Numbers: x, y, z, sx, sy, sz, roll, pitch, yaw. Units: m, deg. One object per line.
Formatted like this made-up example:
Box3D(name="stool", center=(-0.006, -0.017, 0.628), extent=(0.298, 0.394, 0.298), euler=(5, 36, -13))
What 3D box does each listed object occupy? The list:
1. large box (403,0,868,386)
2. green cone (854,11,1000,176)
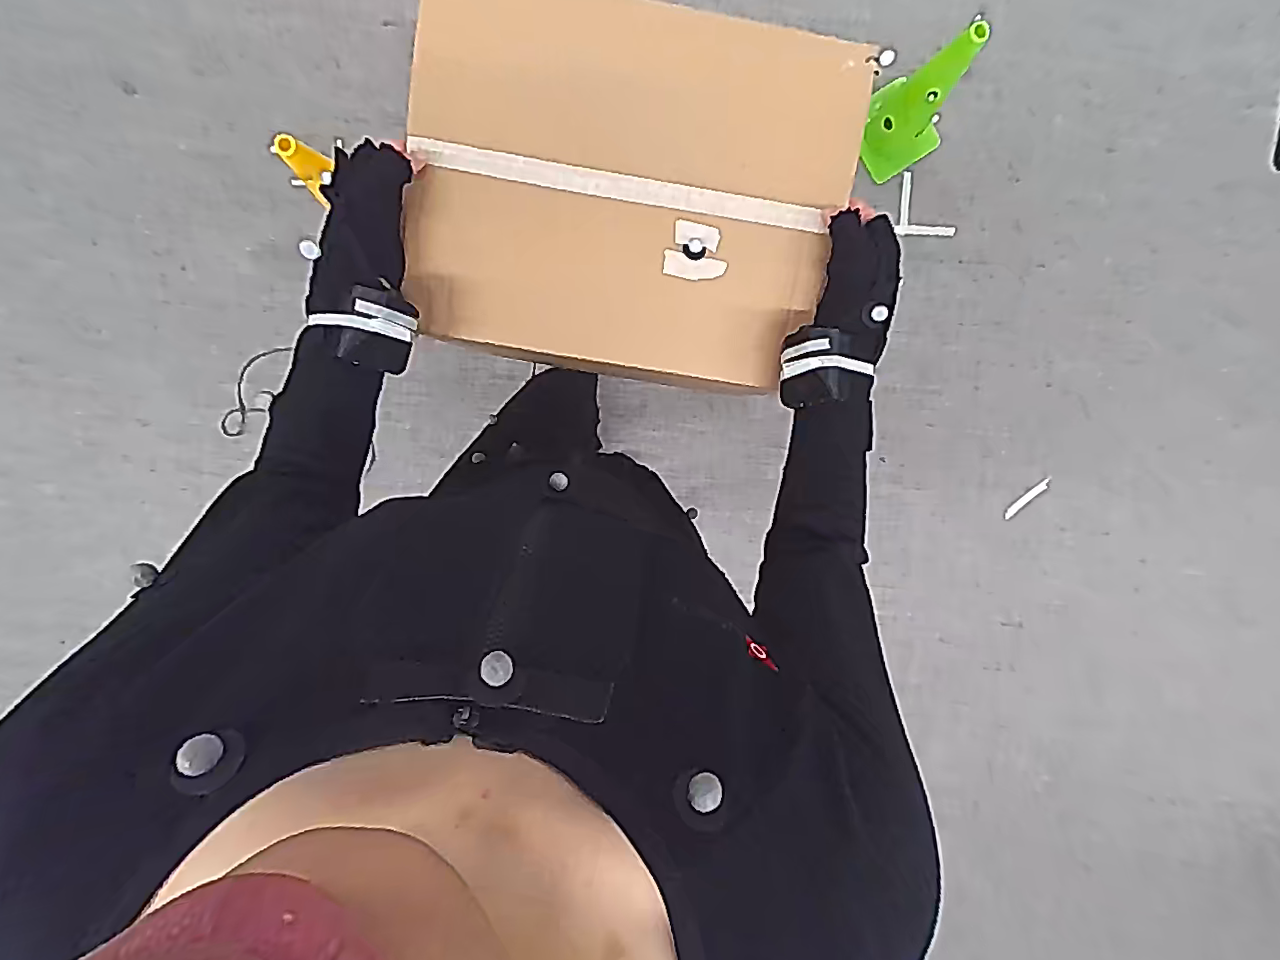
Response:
Box3D(name="large box", center=(-0.016, -0.297, 0.647), extent=(0.408, 0.320, 0.320), euler=(8, 99, -4))
Box3D(name="green cone", center=(0.658, -0.890, 1.212), extent=(0.202, 0.368, 0.200), euler=(-33, 97, 1))
